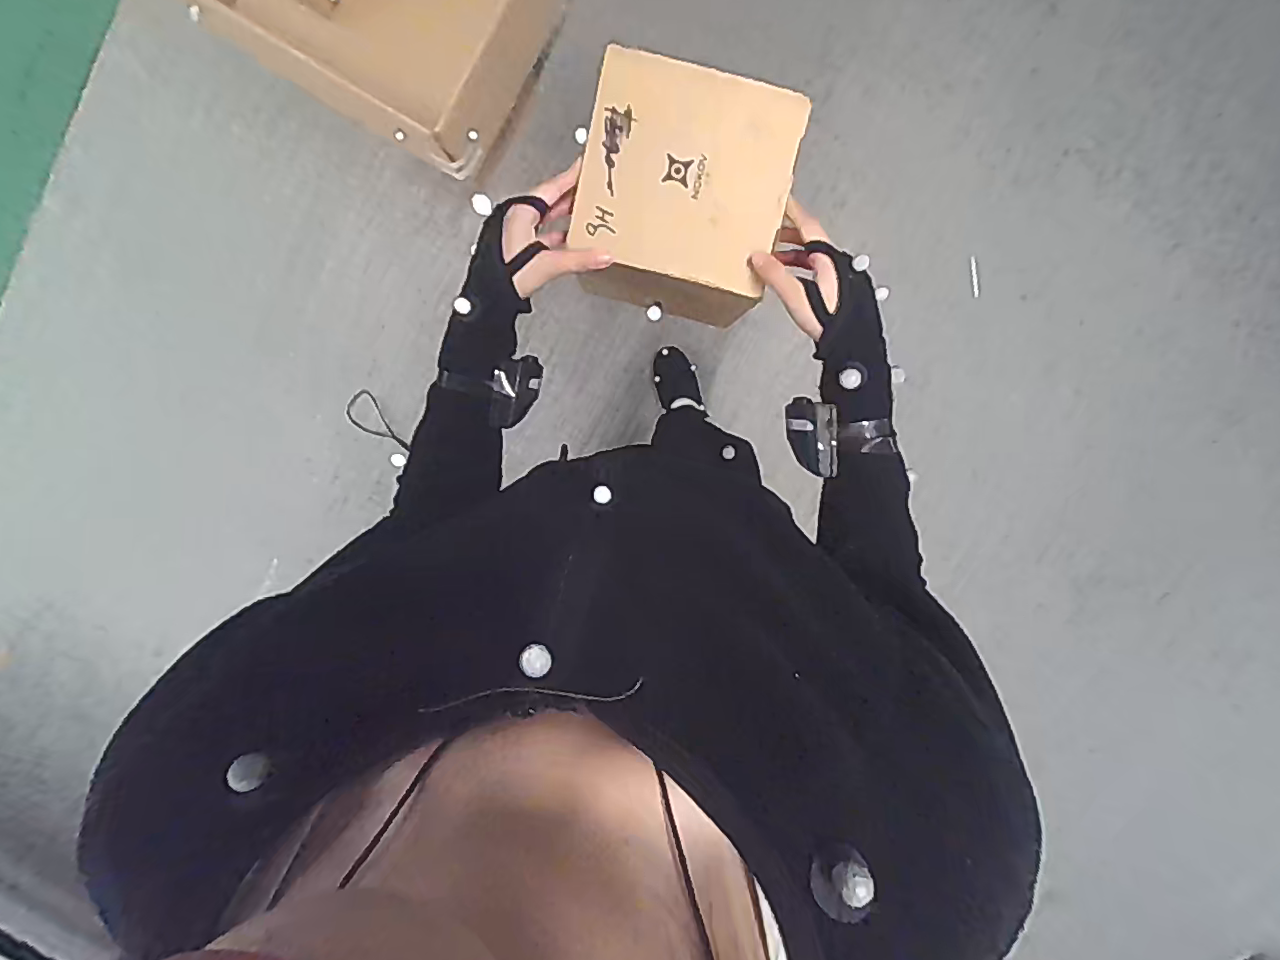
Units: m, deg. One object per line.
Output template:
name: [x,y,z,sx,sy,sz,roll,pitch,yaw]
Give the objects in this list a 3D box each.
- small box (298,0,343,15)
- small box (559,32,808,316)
small box: [-0.599,-0.956,0.920,0.179,0.176,0.168,32,96,-1]
small box: [0.032,-0.267,0.521,0.179,0.176,0.168,13,95,-4]
